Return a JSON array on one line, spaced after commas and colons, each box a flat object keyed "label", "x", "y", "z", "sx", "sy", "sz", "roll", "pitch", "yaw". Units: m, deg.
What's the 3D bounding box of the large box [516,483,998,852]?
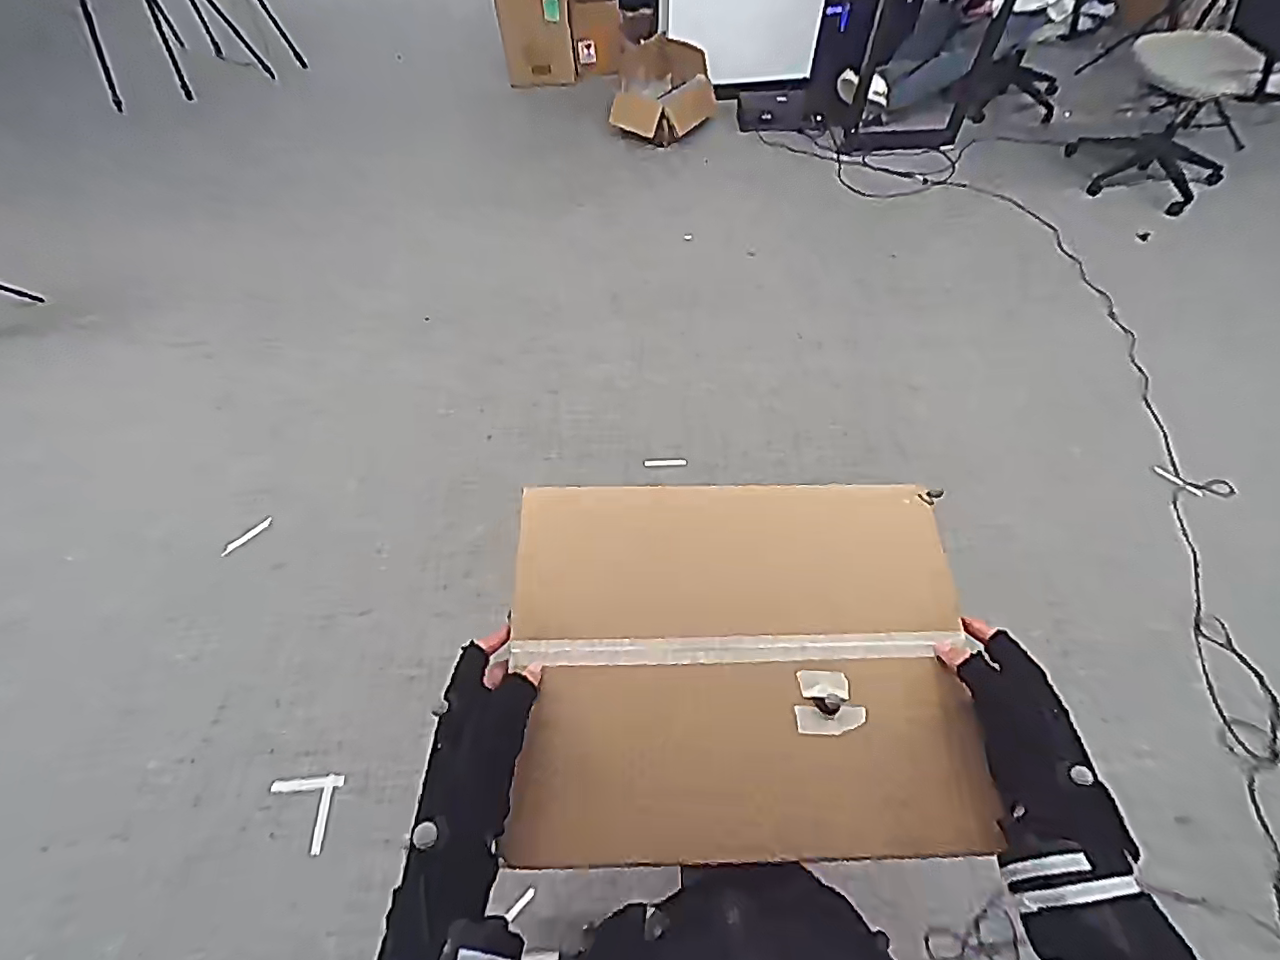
[{"label": "large box", "x": 0.085, "y": 0.209, "z": 0.630, "sx": 0.408, "sy": 0.320, "sz": 0.320, "roll": -1, "pitch": 66, "yaw": -3}]
